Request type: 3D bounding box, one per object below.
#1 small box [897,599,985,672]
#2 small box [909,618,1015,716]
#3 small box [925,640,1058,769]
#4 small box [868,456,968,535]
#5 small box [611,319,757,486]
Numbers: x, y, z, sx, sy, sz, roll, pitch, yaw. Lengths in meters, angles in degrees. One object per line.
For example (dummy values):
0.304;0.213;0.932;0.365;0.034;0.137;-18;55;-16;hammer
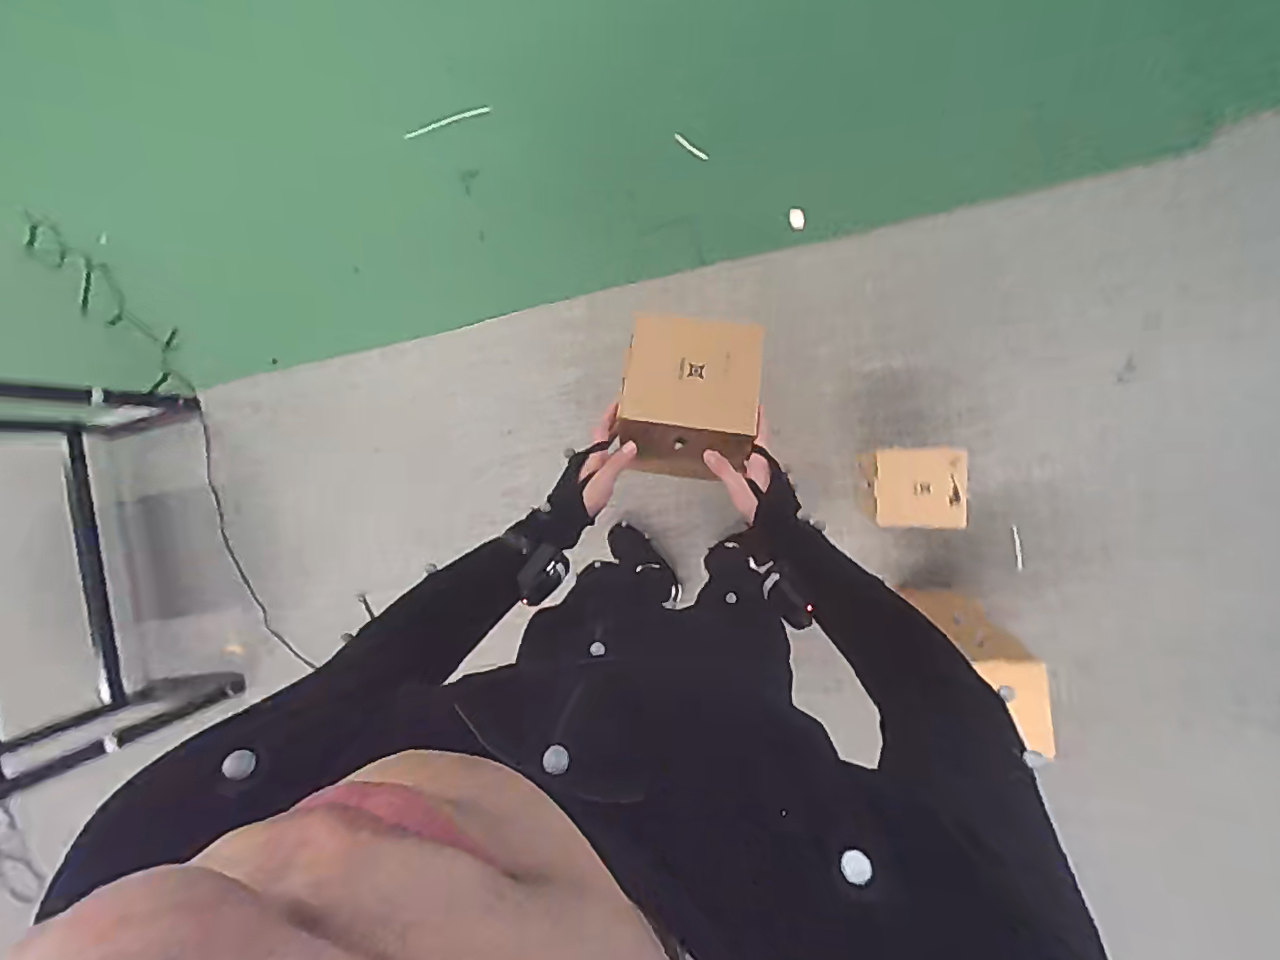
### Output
0.751;0.399;1.348;0.168;0.176;0.179;-7;90;16;small box
0.703;0.406;1.191;0.179;0.176;0.168;-6;90;15;small box
0.661;0.421;1.034;0.168;0.176;0.179;-7;90;15;small box
0.611;0.030;1.206;0.179;0.176;0.168;0;92;16;small box
0.061;-0.102;0.769;0.179;0.176;0.168;7;67;3;small box
